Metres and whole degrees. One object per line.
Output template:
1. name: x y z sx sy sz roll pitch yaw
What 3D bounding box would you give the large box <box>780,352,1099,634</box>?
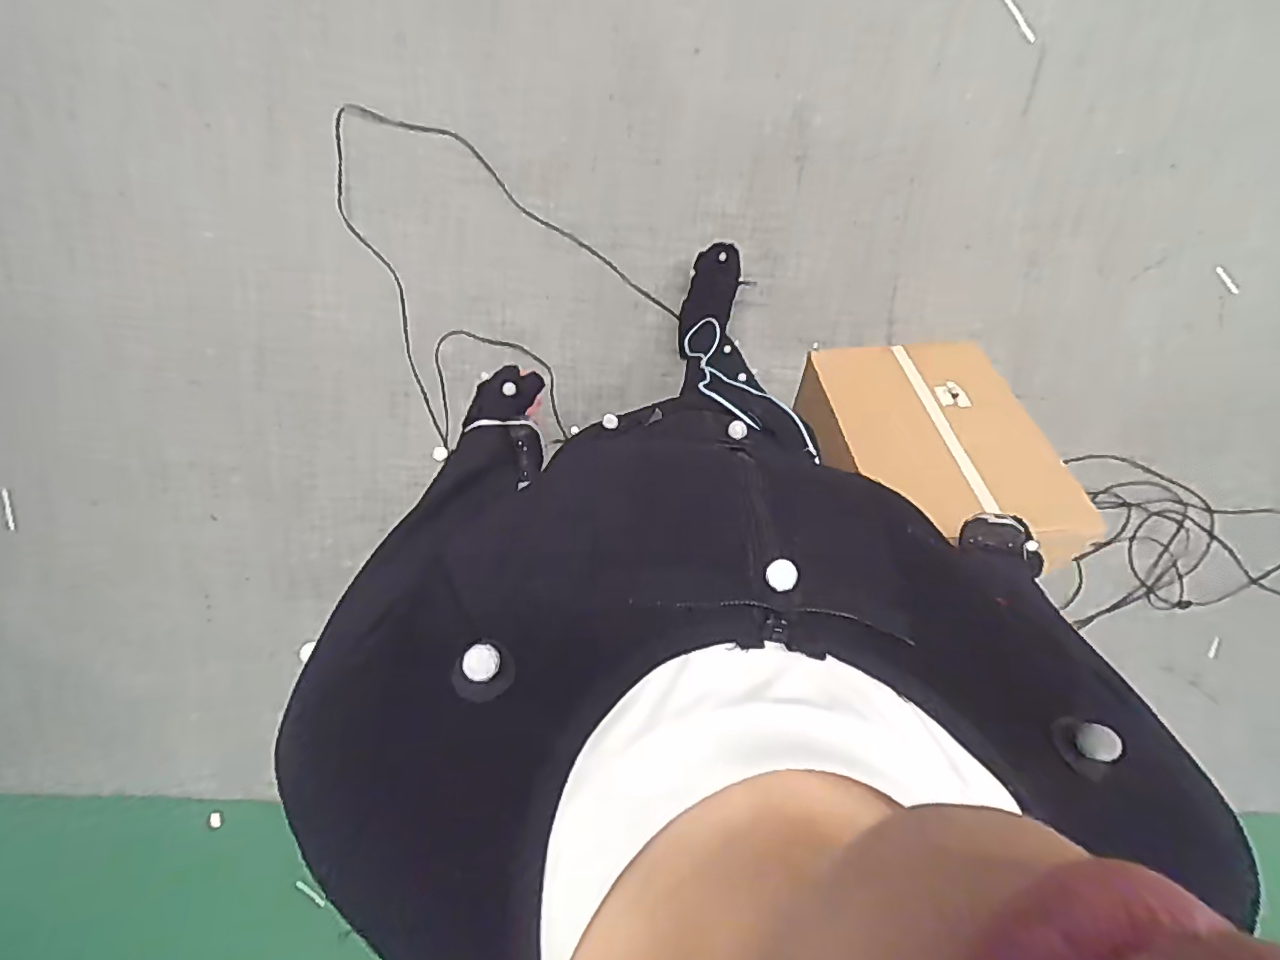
1. large box: 0.475 0.020 0.982 0.320 0.408 0.320 -3 140 -3
